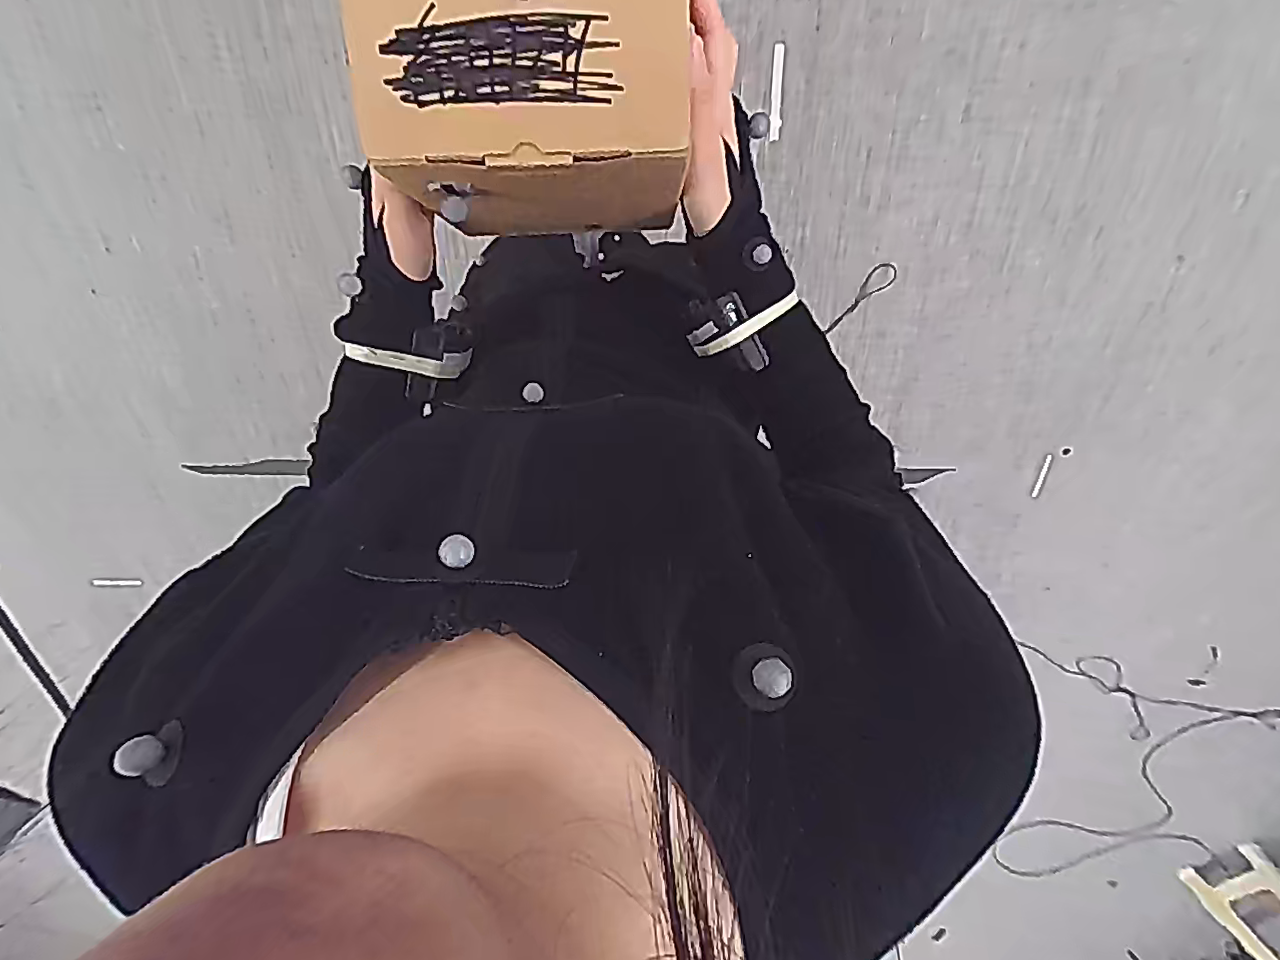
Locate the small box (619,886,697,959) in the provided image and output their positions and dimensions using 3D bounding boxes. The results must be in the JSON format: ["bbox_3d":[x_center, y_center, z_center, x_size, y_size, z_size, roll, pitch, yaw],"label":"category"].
[{"bbox_3d":[0.041,1.045,1.209,0.168,0.176,0.179,-3,117,0],"label":"small box"}]
